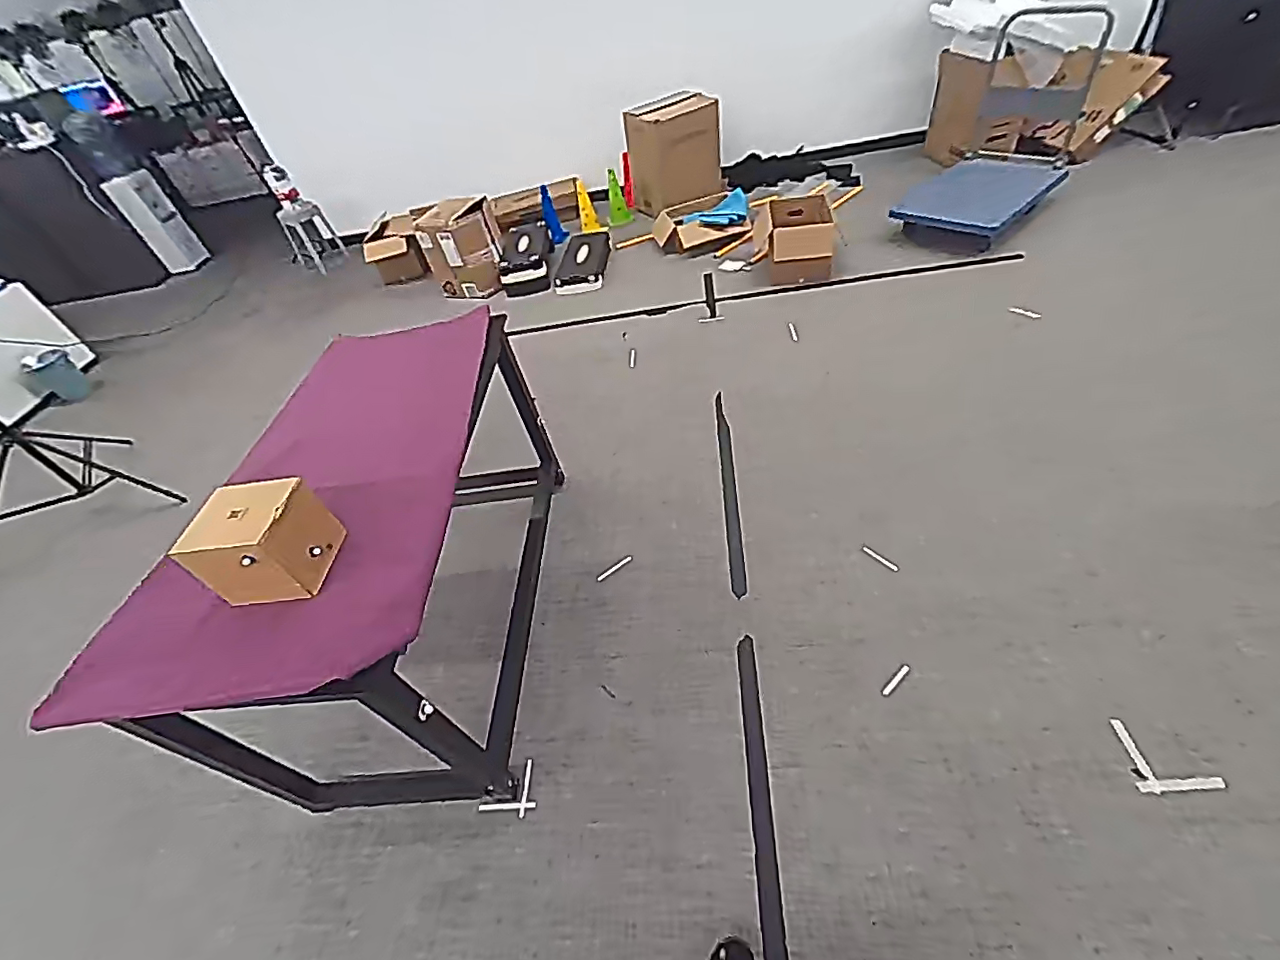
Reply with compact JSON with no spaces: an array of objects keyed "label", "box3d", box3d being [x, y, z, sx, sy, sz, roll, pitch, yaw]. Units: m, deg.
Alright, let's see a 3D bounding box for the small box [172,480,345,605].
[{"label":"small box","box3d":[-0.715,0.125,1.037,0.179,0.176,0.168,-7,44,6]}]
